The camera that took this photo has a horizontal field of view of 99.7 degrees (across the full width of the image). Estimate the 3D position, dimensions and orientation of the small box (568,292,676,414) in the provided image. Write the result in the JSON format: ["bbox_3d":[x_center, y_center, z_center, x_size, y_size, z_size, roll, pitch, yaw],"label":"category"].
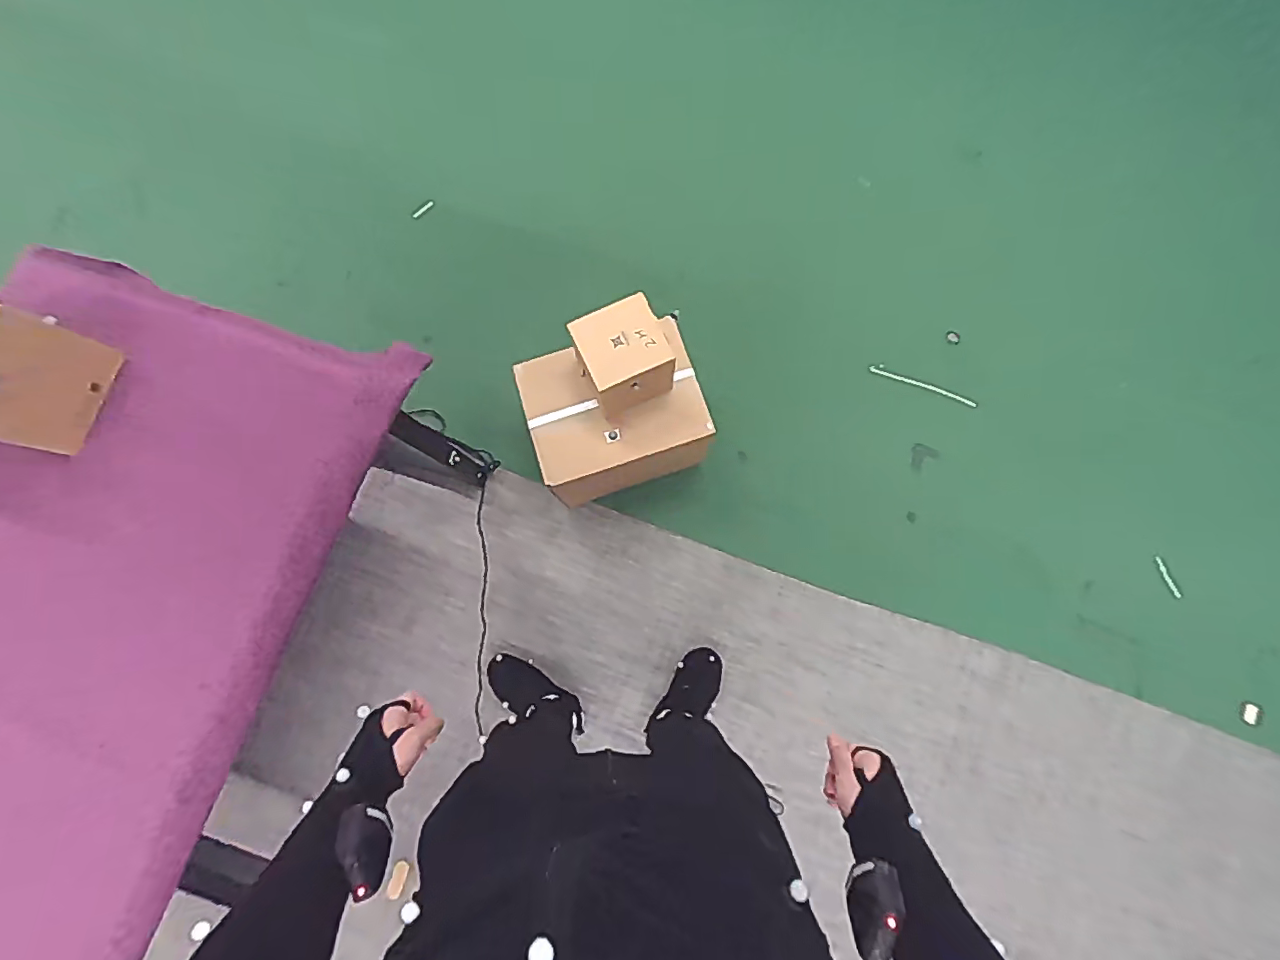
[{"bbox_3d":[-0.035,-0.267,1.177,0.179,0.176,0.168,-25,78,-5],"label":"small box"}]

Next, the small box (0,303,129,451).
[{"bbox_3d":[-0.883,-0.151,0.740,0.179,0.176,0.168,18,81,3],"label":"small box"}]
